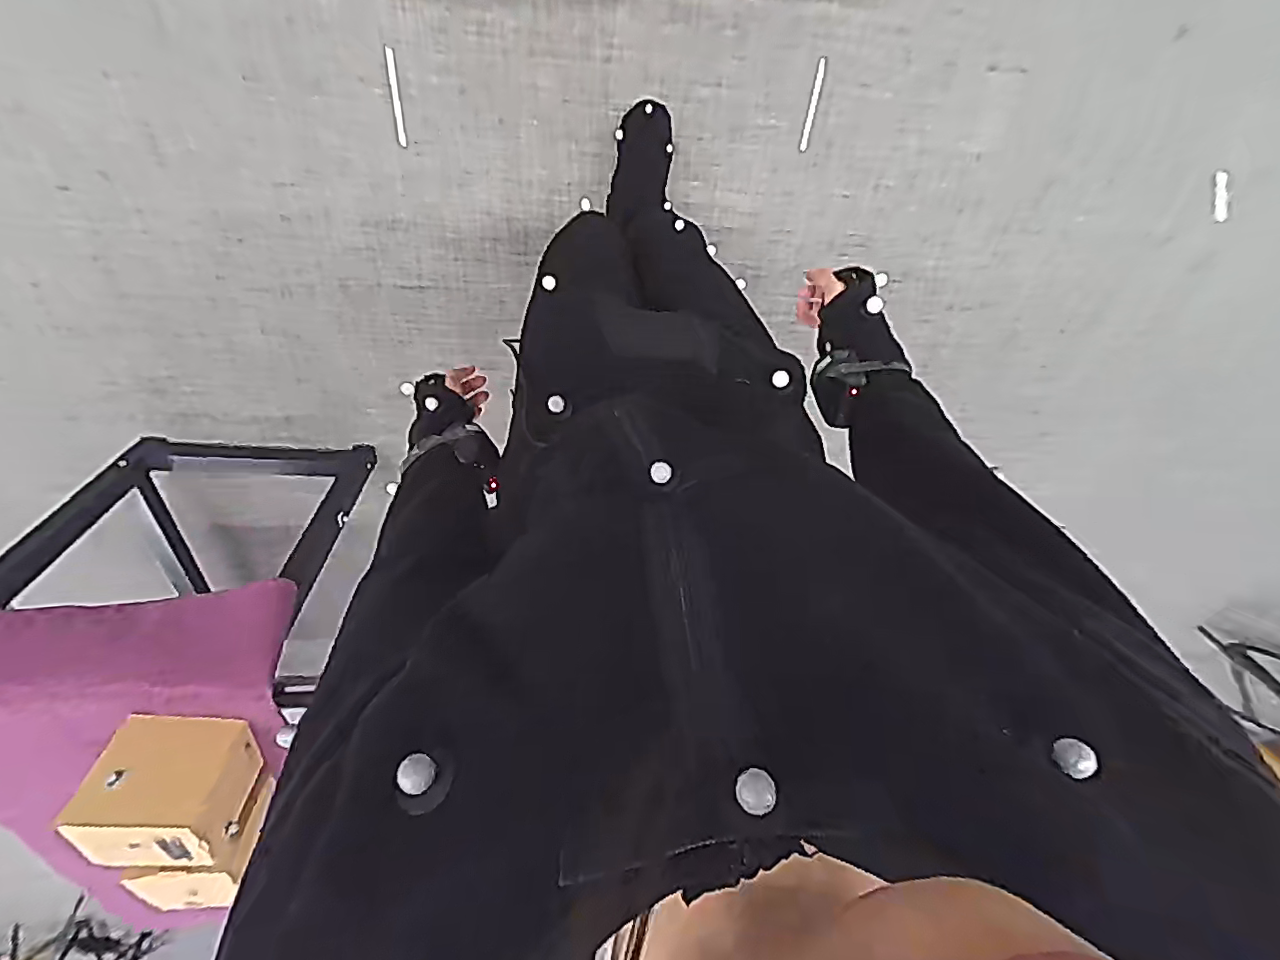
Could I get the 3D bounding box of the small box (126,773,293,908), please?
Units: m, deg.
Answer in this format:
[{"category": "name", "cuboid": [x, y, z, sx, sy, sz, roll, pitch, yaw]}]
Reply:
[{"category": "small box", "cuboid": [-0.795, 0.673, 1.023, 0.168, 0.176, 0.179, 2, 127, -8]}]
